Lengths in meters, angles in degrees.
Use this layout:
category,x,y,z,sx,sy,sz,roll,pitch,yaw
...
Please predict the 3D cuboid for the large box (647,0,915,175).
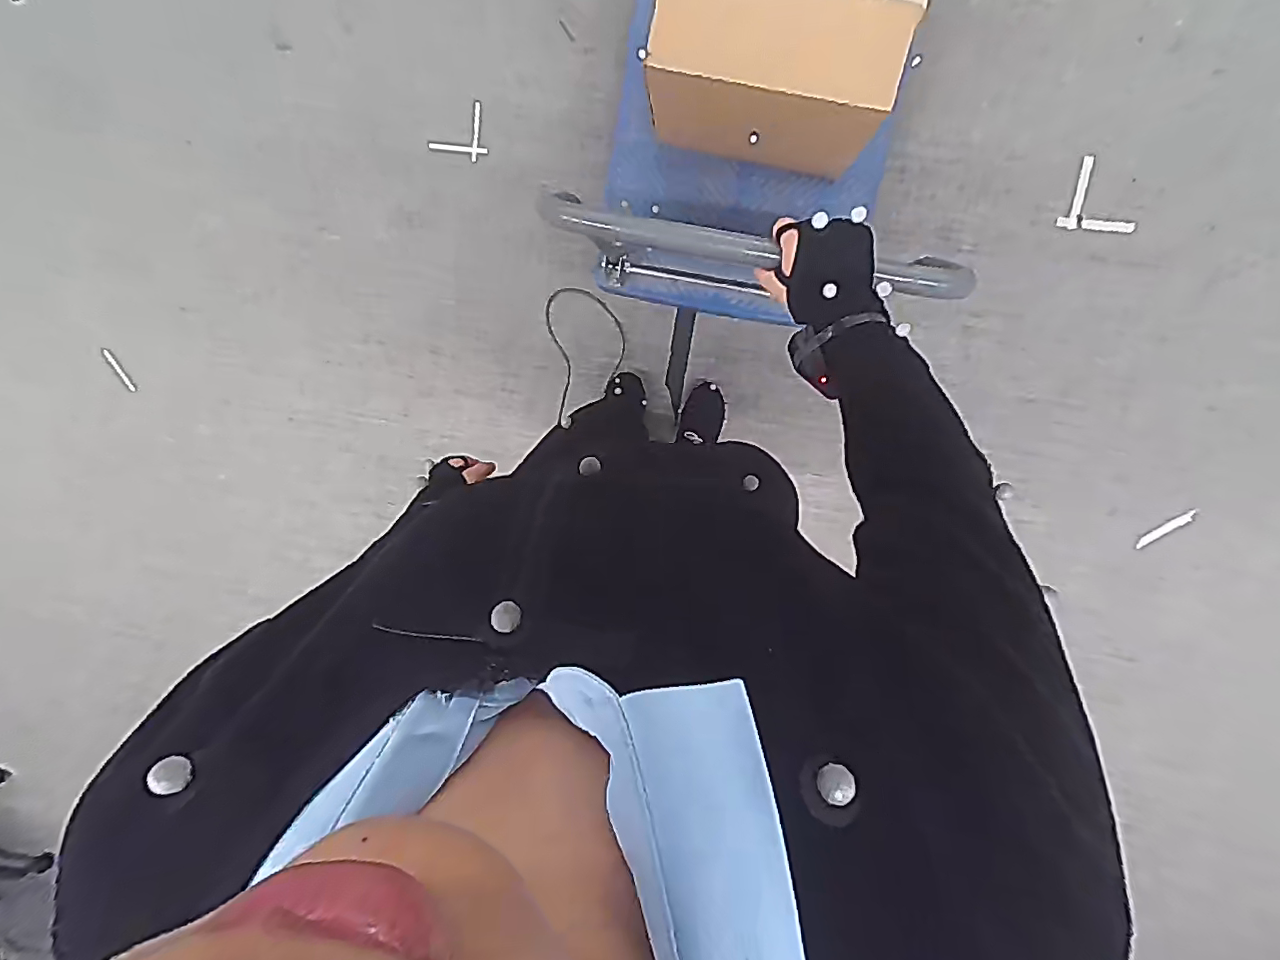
category,x,y,z,sx,sy,sz,roll,pitch,yaw
large box,0.249,-0.807,0.996,0.408,0.320,0.320,13,101,3
